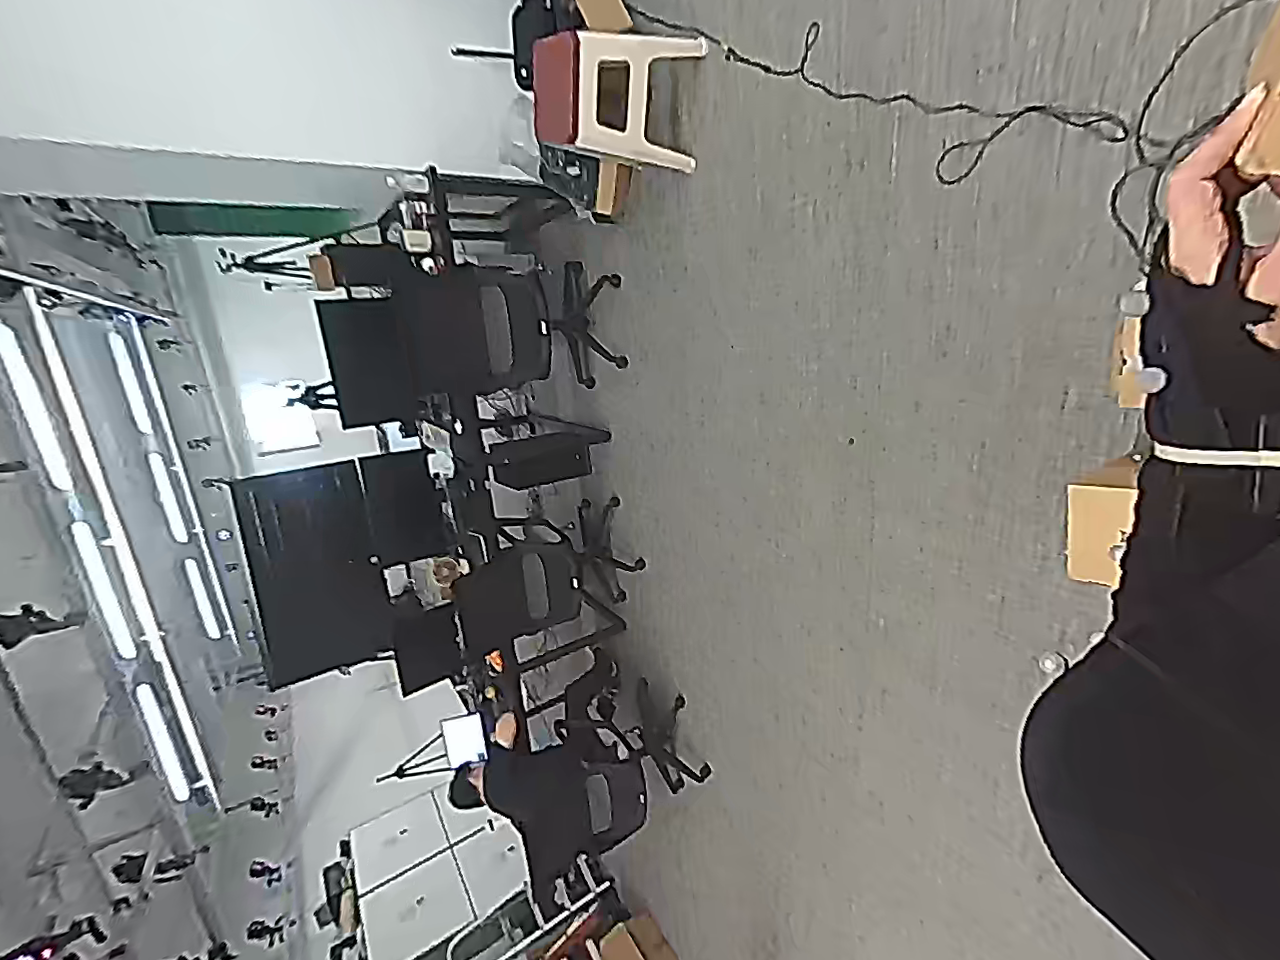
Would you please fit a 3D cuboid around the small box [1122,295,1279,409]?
[{"bbox_3d":[0.961,-0.215,0.911,0.179,0.176,0.168,13,115,56],"label":"small box"}]

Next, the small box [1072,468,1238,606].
[{"bbox_3d":[0.853,0.081,0.900,0.168,0.176,0.179,8,110,58],"label":"small box"}]
